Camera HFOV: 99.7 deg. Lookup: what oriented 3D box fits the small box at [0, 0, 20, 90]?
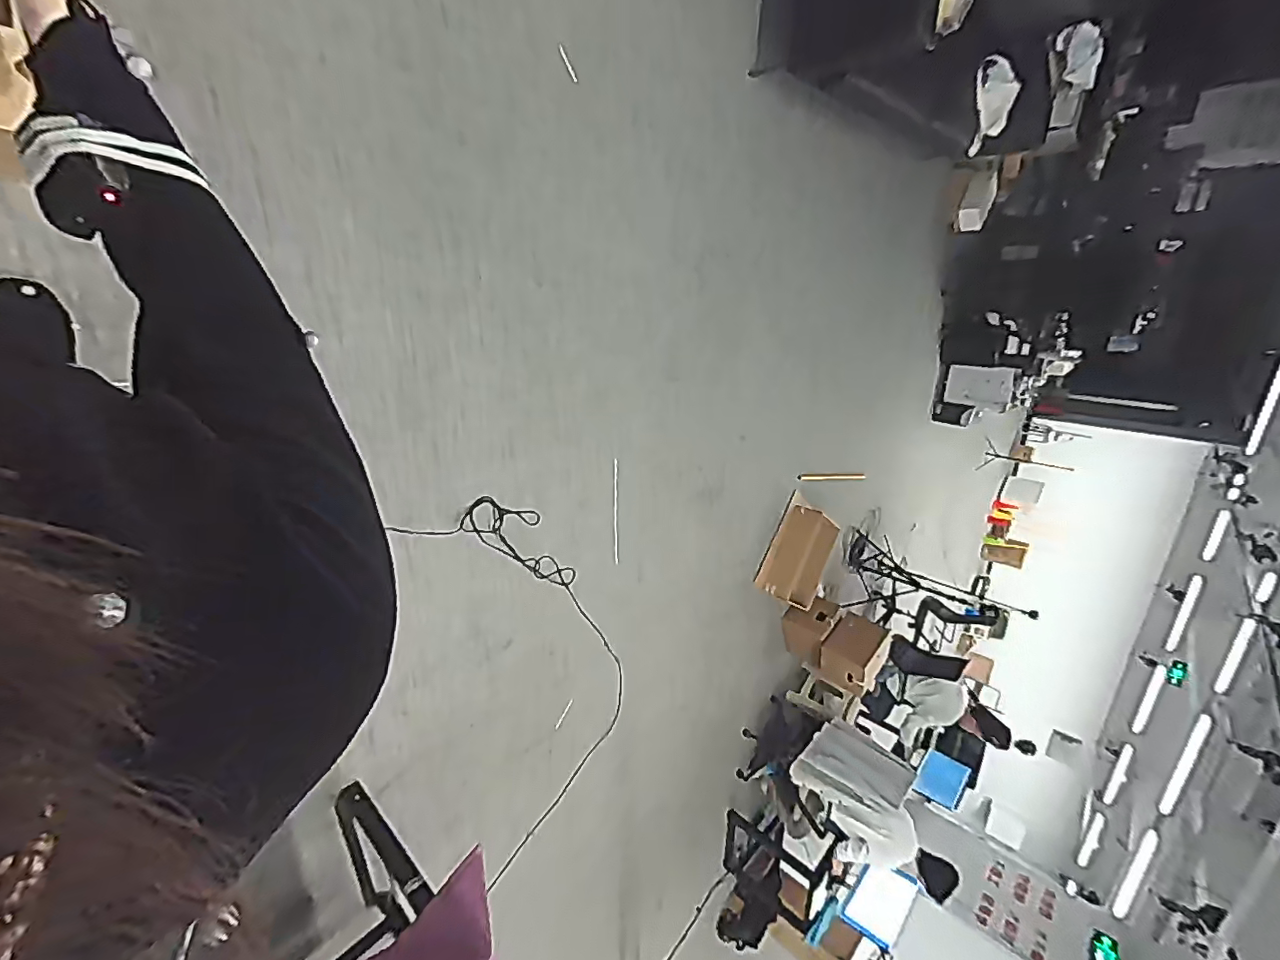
[{"bbox_3d":[-0.730,-0.505,0.509,0.168,0.176,0.179,-14,114,-44],"label":"small box"}]
